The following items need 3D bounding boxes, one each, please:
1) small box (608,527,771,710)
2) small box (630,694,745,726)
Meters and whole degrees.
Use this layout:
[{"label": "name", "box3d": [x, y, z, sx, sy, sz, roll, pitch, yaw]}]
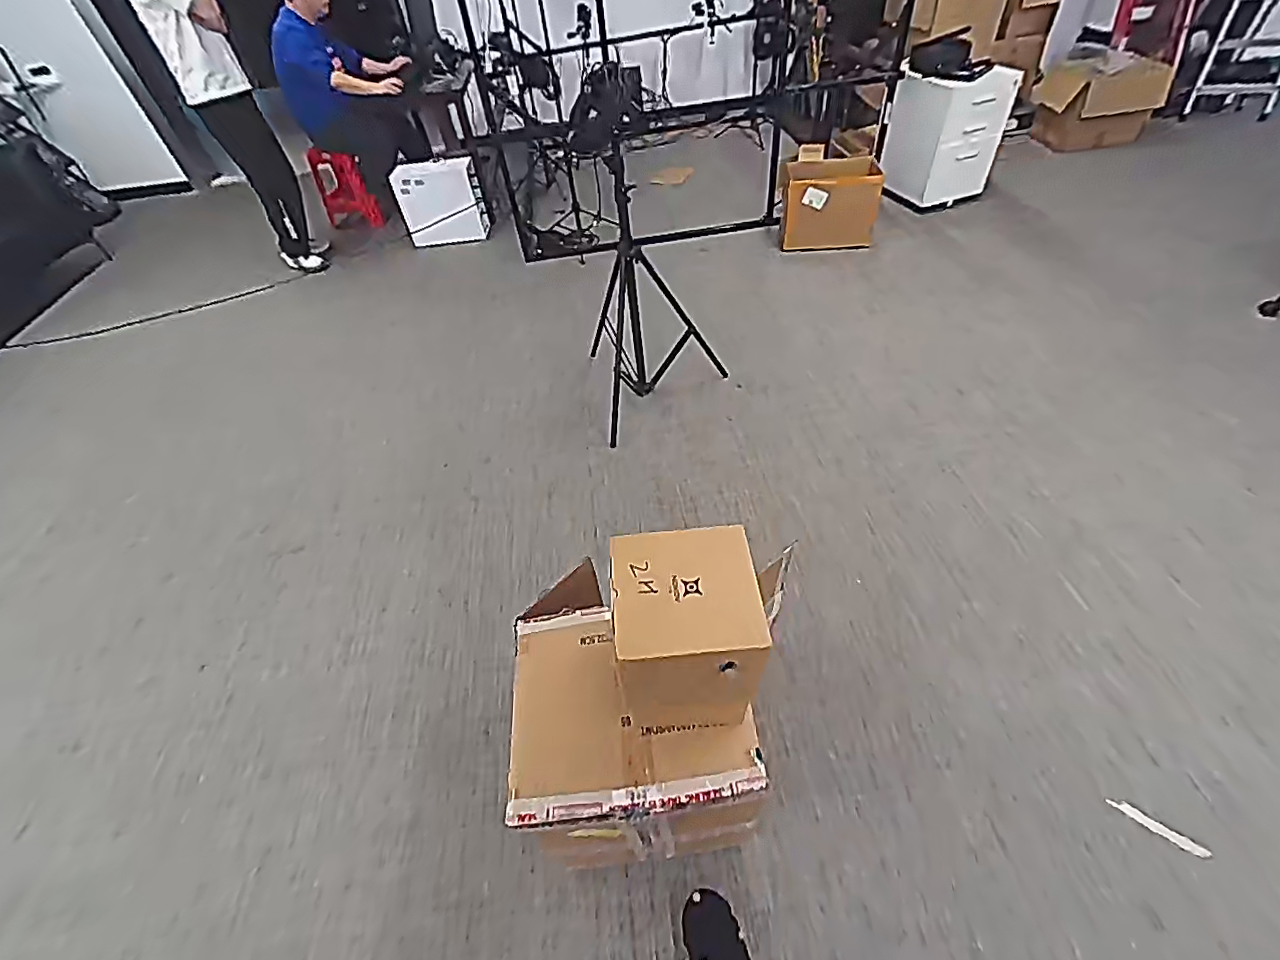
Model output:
[{"label": "small box", "box3d": [0.055, 0.180, 0.695, 0.179, 0.176, 0.168, -6, 49, 0]}, {"label": "small box", "box3d": [0.067, 0.269, 0.834, 0.179, 0.176, 0.168, -3, 49, 2]}]
